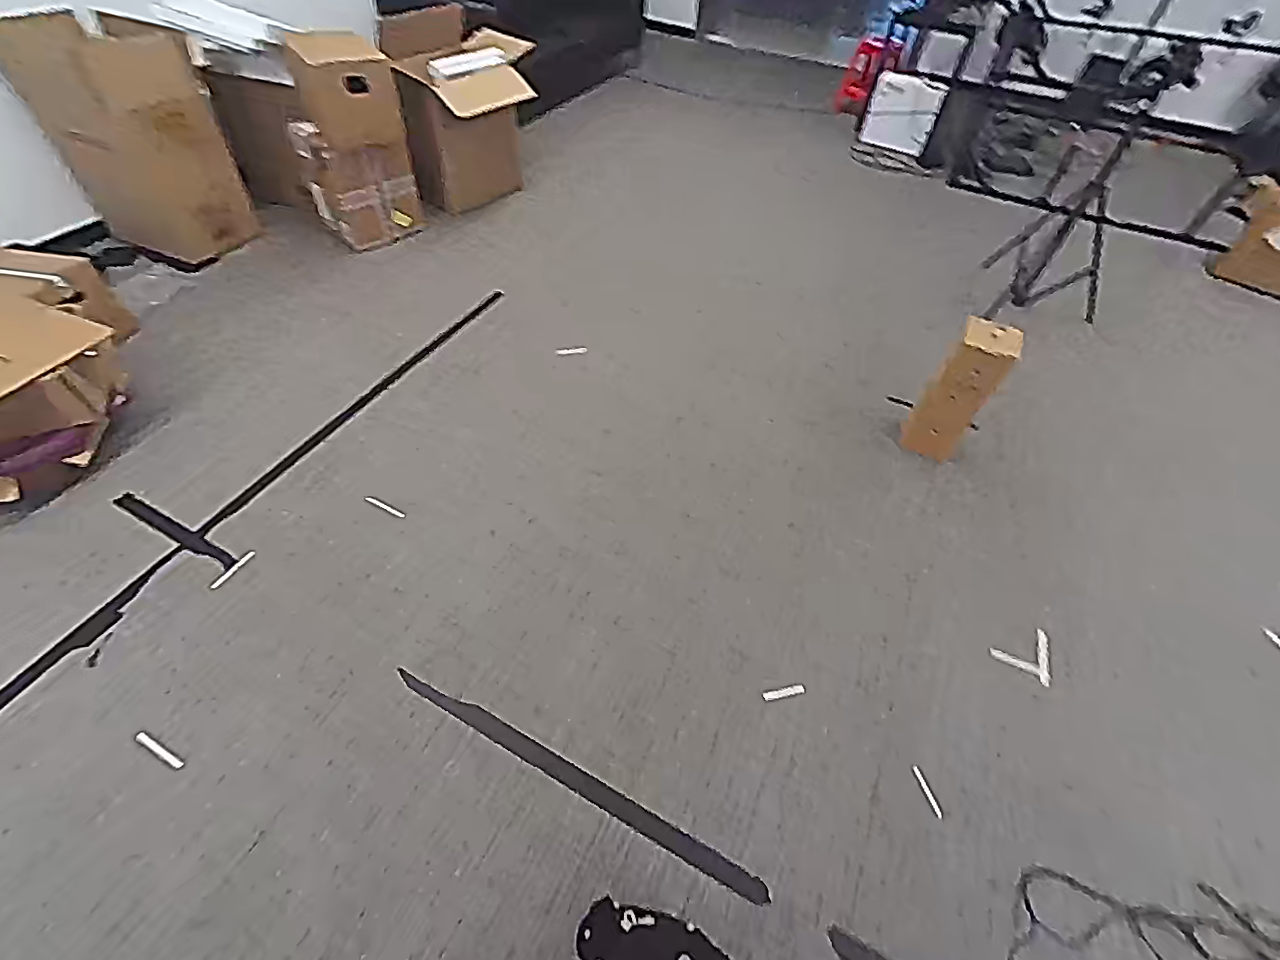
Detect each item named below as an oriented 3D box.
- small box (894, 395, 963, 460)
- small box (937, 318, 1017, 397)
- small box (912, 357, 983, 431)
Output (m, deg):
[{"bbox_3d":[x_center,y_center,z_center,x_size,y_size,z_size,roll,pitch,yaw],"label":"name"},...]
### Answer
[{"bbox_3d":[1.104,-0.200,2.064,0.179,0.176,0.168,22,53,14],"label":"small box"},{"bbox_3d":[1.122,-0.407,1.809,0.168,0.176,0.179,24,54,15],"label":"small box"},{"bbox_3d":[1.105,-0.305,1.936,0.179,0.176,0.168,24,54,16],"label":"small box"}]
